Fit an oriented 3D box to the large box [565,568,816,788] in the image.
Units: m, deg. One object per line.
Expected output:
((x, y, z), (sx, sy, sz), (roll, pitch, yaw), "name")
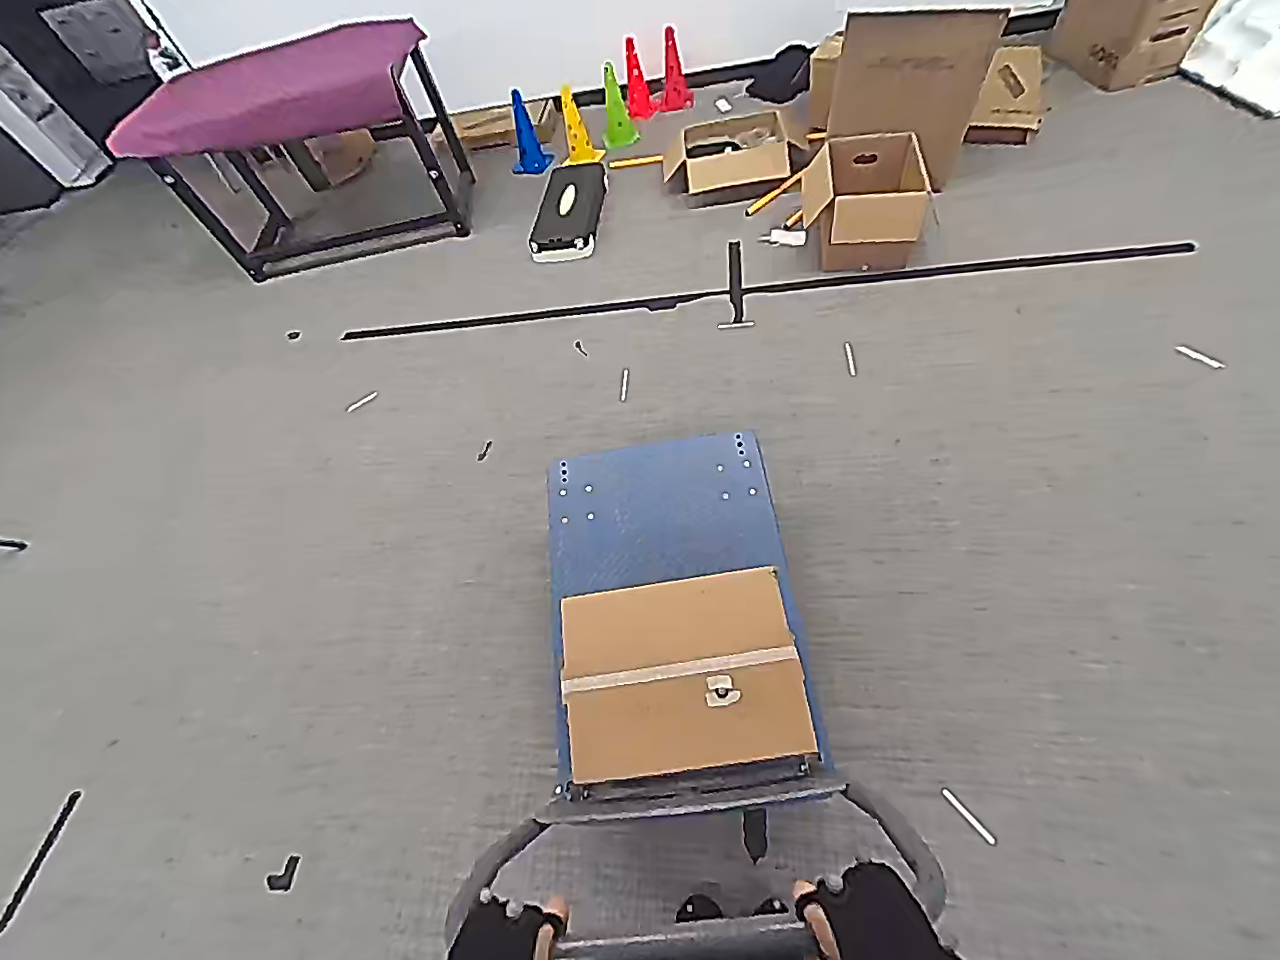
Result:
((0.089, 0.400, 1.088), (0.408, 0.320, 0.320), (-10, 65, 2), "large box")
